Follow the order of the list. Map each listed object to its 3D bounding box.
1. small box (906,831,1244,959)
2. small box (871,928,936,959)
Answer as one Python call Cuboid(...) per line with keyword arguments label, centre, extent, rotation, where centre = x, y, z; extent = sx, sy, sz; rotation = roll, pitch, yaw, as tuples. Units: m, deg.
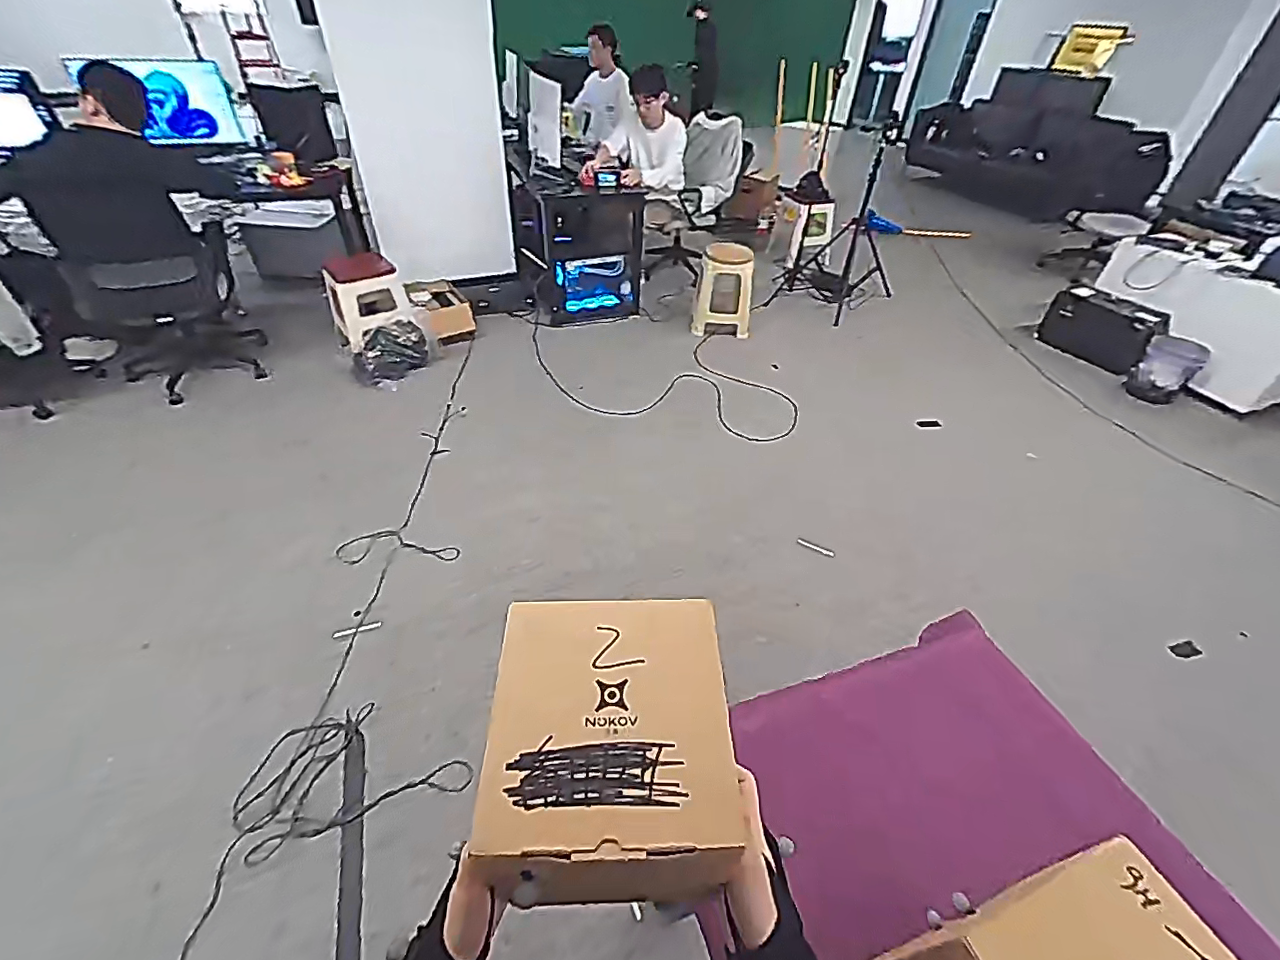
Cuboid(label="small box", centre=(0.330, 0.406, 0.400), extent=(0.179, 0.176, 0.168), rotation=(-13, 44, -18))
Cuboid(label="small box", centre=(0.316, 0.530, 0.506), extent=(0.179, 0.176, 0.168), rotation=(-10, 43, -16))
